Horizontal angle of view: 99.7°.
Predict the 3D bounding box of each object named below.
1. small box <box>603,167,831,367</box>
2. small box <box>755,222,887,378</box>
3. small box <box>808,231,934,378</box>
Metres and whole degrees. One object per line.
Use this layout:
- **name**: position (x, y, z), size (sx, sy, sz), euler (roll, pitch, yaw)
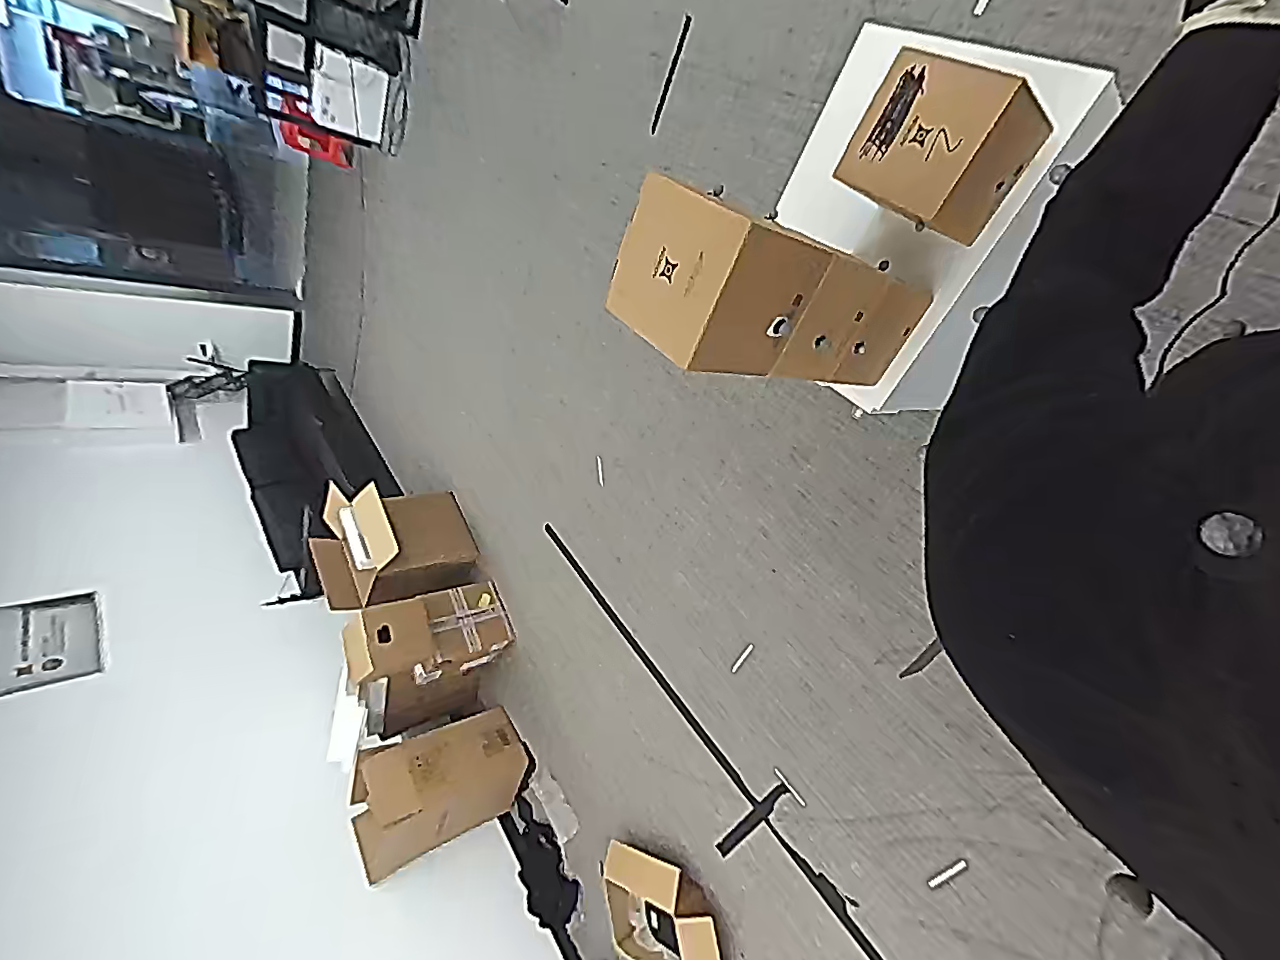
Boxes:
- **small box**: position (0.089, -0.246, 0.656), size (0.179, 0.176, 0.168), euler (46, 127, 33)
- **small box**: position (0.209, -0.259, 0.765), size (0.179, 0.176, 0.168), euler (47, 127, 33)
- **small box**: position (0.327, -0.274, 0.876), size (0.179, 0.176, 0.168), euler (49, 128, 33)
